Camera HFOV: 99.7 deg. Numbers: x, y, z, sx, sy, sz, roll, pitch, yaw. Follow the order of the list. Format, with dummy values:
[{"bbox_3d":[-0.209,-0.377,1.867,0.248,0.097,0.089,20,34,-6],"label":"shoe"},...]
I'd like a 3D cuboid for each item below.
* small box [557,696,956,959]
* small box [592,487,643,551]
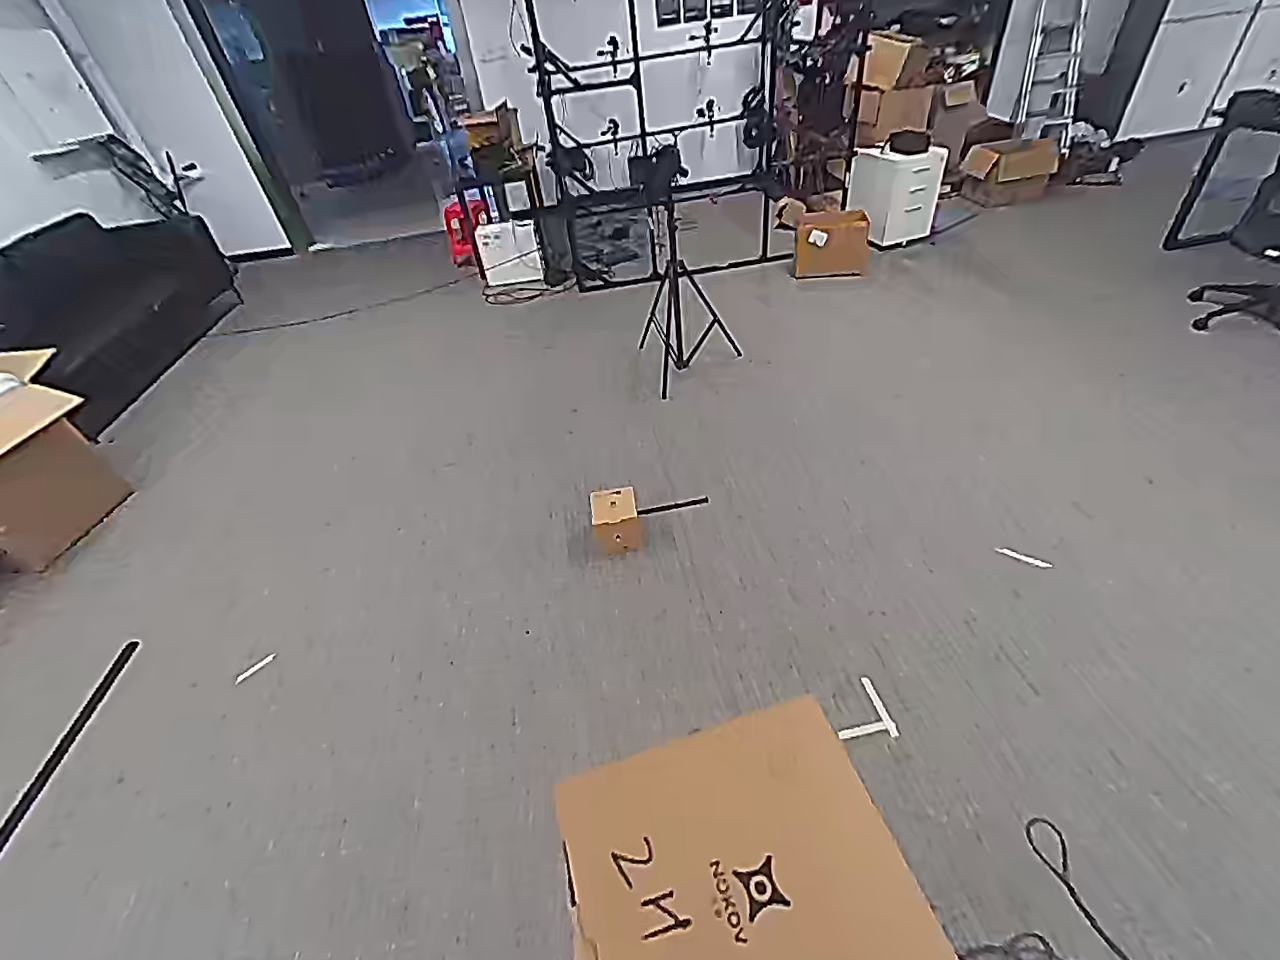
[{"bbox_3d":[0.056,0.270,0.340,0.179,0.176,0.168,-14,46,-11],"label":"small box"},{"bbox_3d":[-0.085,0.153,2.049,0.168,0.176,0.179,-9,41,-1],"label":"small box"}]
